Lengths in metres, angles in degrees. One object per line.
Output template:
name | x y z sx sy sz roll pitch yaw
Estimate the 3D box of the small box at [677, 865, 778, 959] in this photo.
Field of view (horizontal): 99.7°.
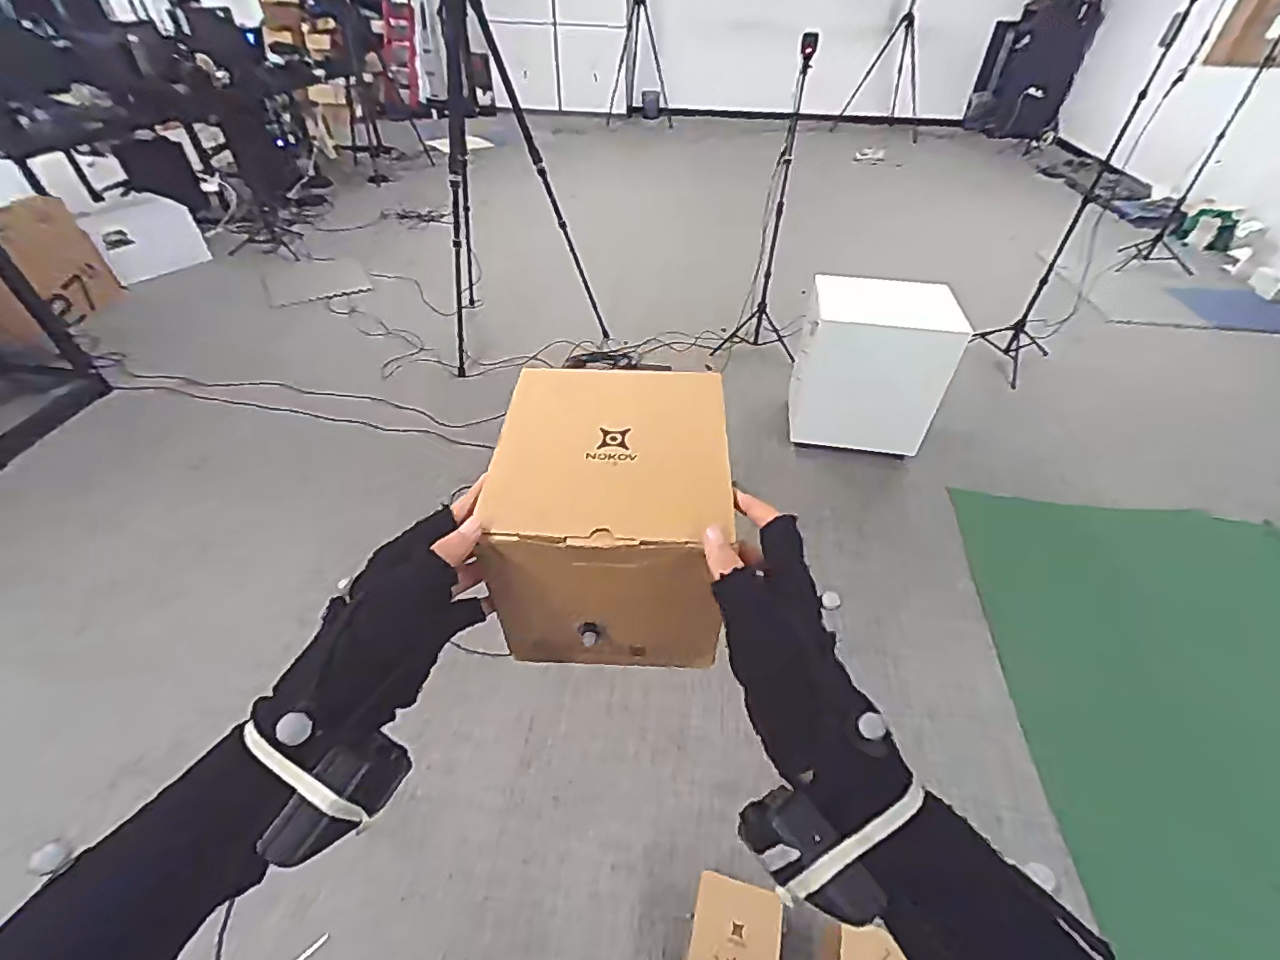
small box | 0.170 0.915 1.080 0.168 0.176 0.179 12 45 12
